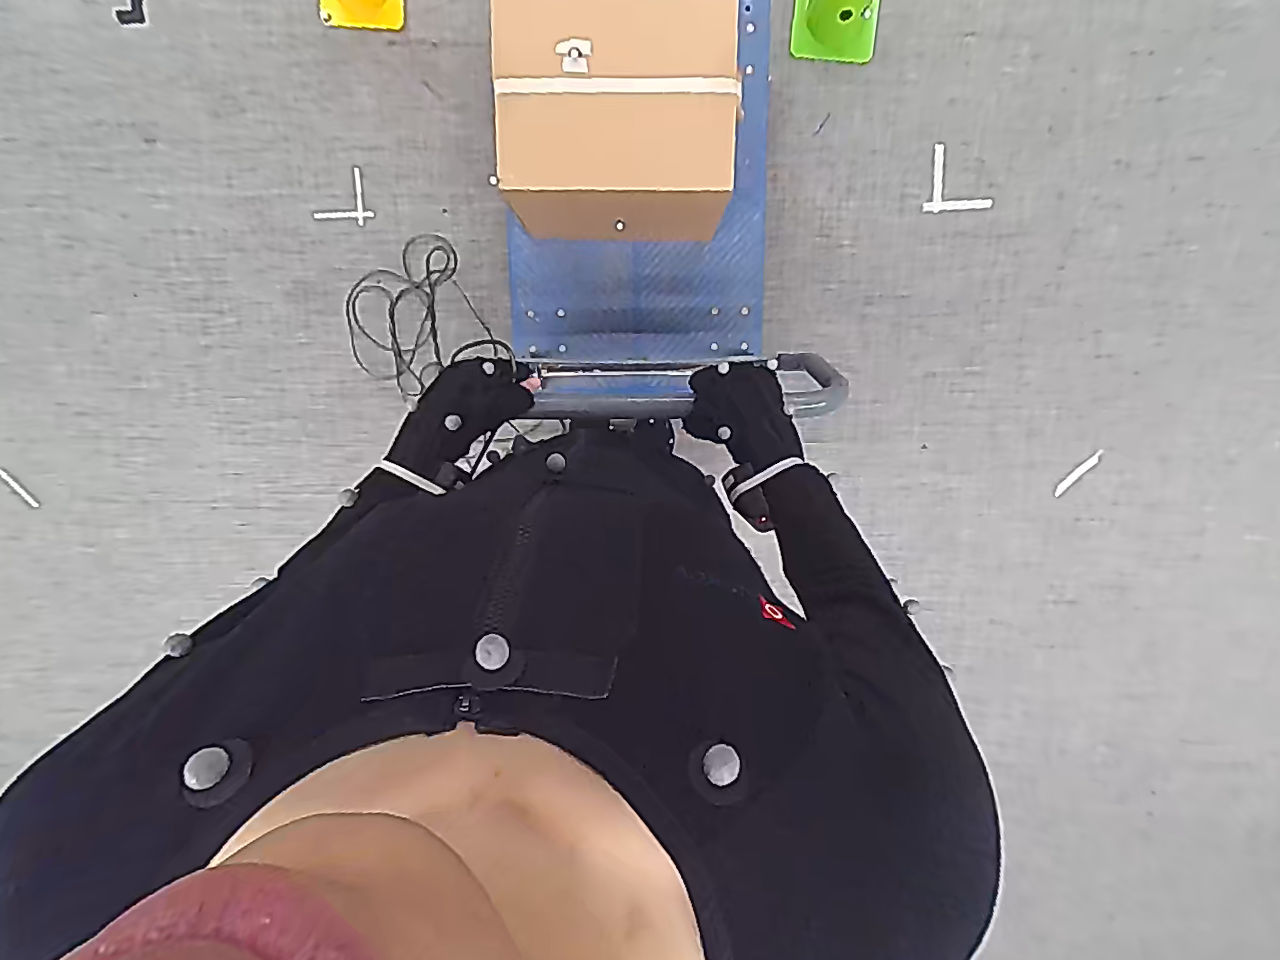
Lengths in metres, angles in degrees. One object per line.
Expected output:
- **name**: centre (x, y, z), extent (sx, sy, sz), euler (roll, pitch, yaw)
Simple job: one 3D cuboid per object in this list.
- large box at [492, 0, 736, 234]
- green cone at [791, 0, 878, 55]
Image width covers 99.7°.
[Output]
- **large box**: centre (-0.038, -0.676, 1.044), extent (0.408, 0.320, 0.320), euler (1, 100, 1)
- **green cone**: centre (0.470, -1.103, 1.119), extent (0.202, 0.368, 0.200), euler (4, 99, -2)
